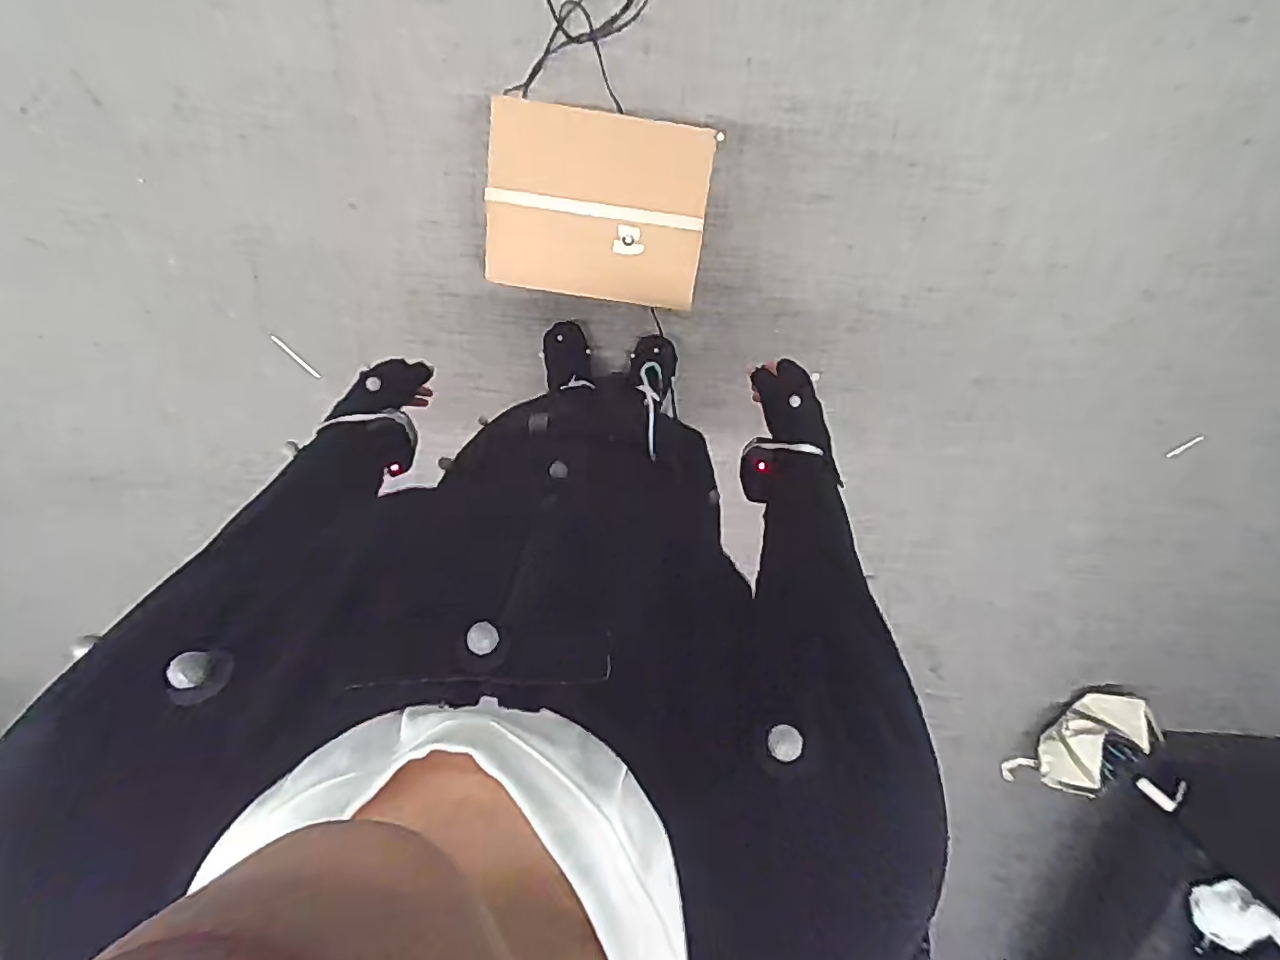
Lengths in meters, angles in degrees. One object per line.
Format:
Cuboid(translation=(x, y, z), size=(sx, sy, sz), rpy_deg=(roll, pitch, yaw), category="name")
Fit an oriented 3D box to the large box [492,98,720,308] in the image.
Cuboid(translation=(-0.075, -0.551, 1.141), size=(0.408, 0.320, 0.320), rpy_deg=(7, 110, -3), category="large box")
